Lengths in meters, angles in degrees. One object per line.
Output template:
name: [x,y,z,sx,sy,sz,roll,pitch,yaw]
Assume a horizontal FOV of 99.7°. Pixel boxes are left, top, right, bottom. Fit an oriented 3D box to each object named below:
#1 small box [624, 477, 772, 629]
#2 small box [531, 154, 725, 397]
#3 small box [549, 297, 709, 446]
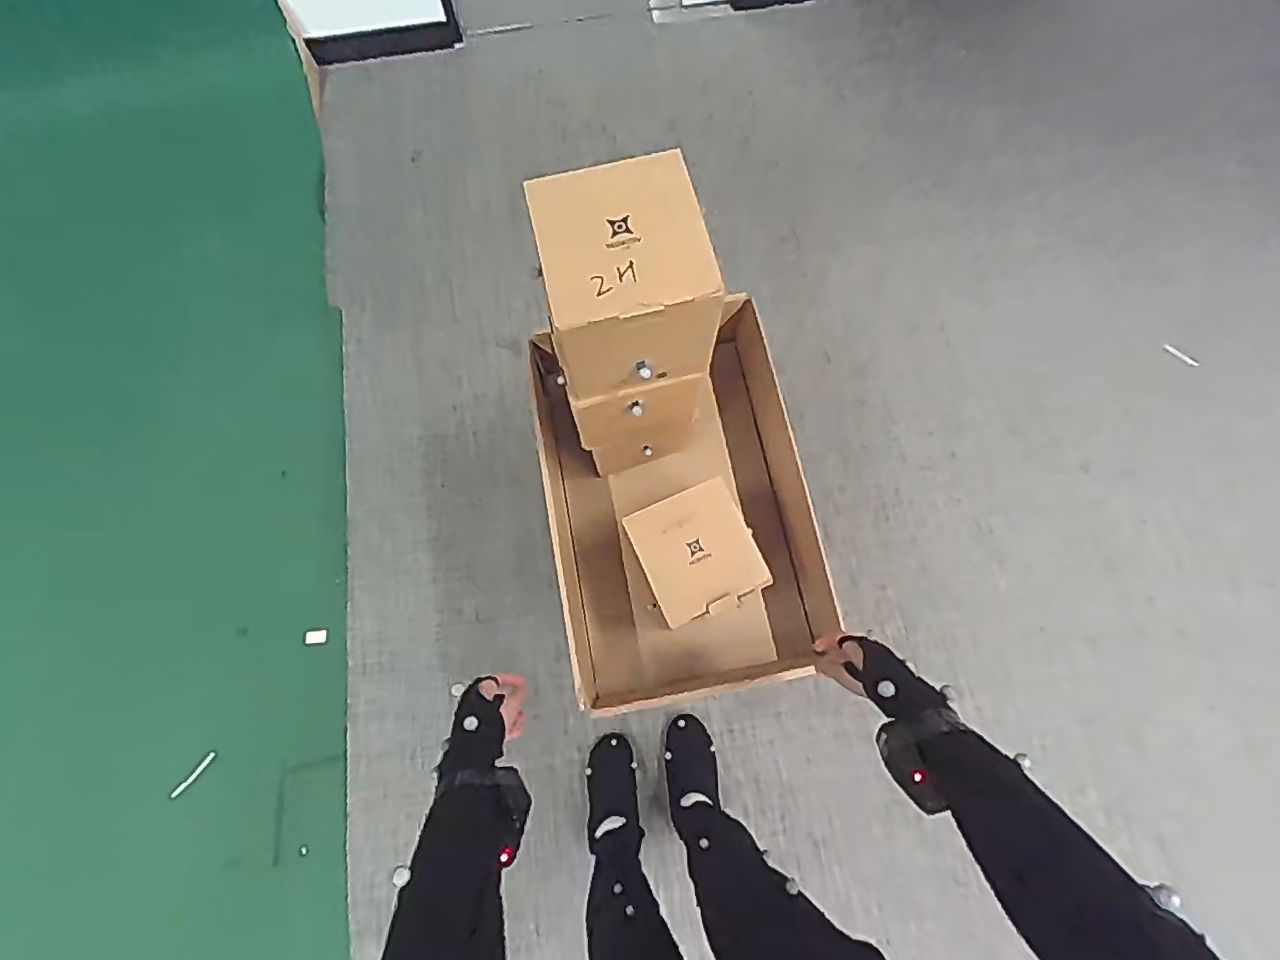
small box: [0.084,0.121,0.858,0.168,0.176,0.179,-23,76,-6]
small box: [-0.014,-0.217,0.608,0.168,0.176,0.179,-13,76,-2]
small box: [-0.016,-0.164,0.765,0.179,0.176,0.168,-15,76,-2]
